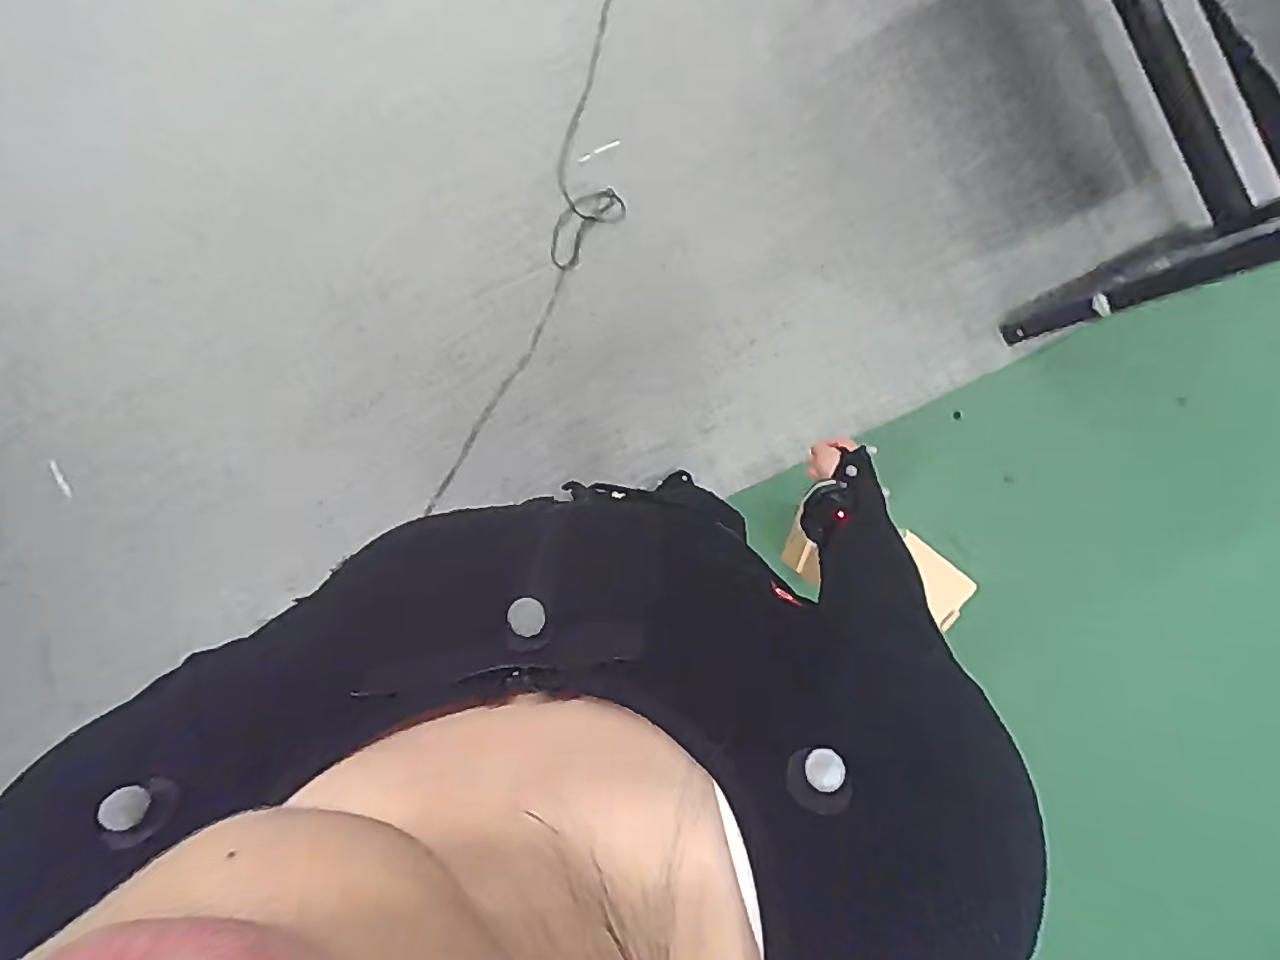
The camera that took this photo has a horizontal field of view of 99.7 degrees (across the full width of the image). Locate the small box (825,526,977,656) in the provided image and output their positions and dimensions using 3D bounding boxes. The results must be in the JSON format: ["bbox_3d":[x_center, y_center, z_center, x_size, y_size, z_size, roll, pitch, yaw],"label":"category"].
[{"bbox_3d":[0.502,0.206,1.067,0.179,0.176,0.168,39,92,0],"label":"small box"}]

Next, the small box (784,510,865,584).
[{"bbox_3d":[0.493,0.180,1.395,0.179,0.176,0.168,20,92,0],"label":"small box"}]
